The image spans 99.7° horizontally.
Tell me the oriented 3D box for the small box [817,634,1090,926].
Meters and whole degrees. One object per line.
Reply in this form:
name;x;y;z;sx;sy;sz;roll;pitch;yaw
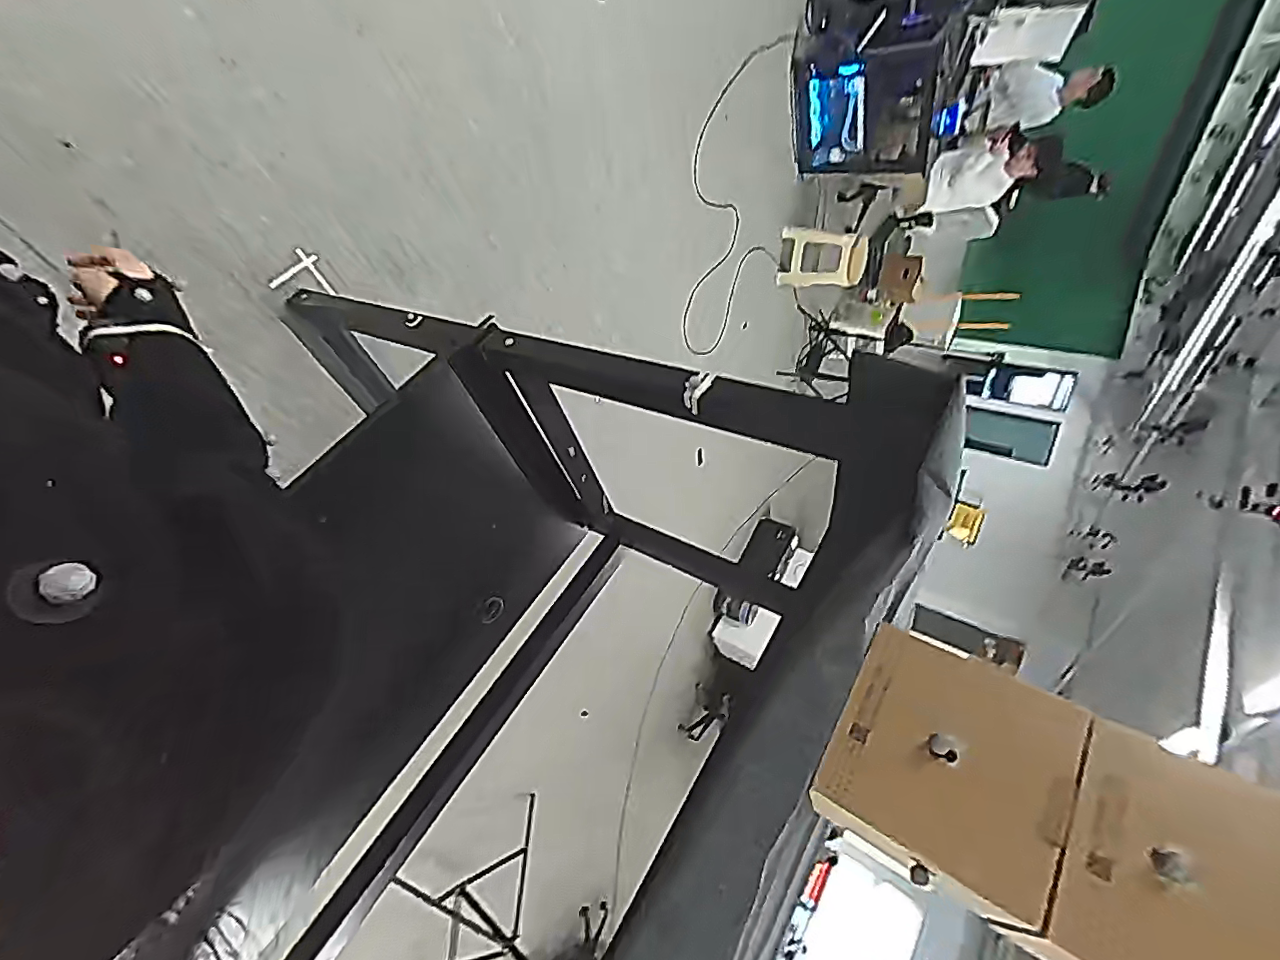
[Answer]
small box;0.276;0.269;0.507;0.168;0.176;0.179;-55;146;-22

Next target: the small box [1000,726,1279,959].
small box;0.408;0.323;0.424;0.168;0.176;0.179;-56;147;-23
